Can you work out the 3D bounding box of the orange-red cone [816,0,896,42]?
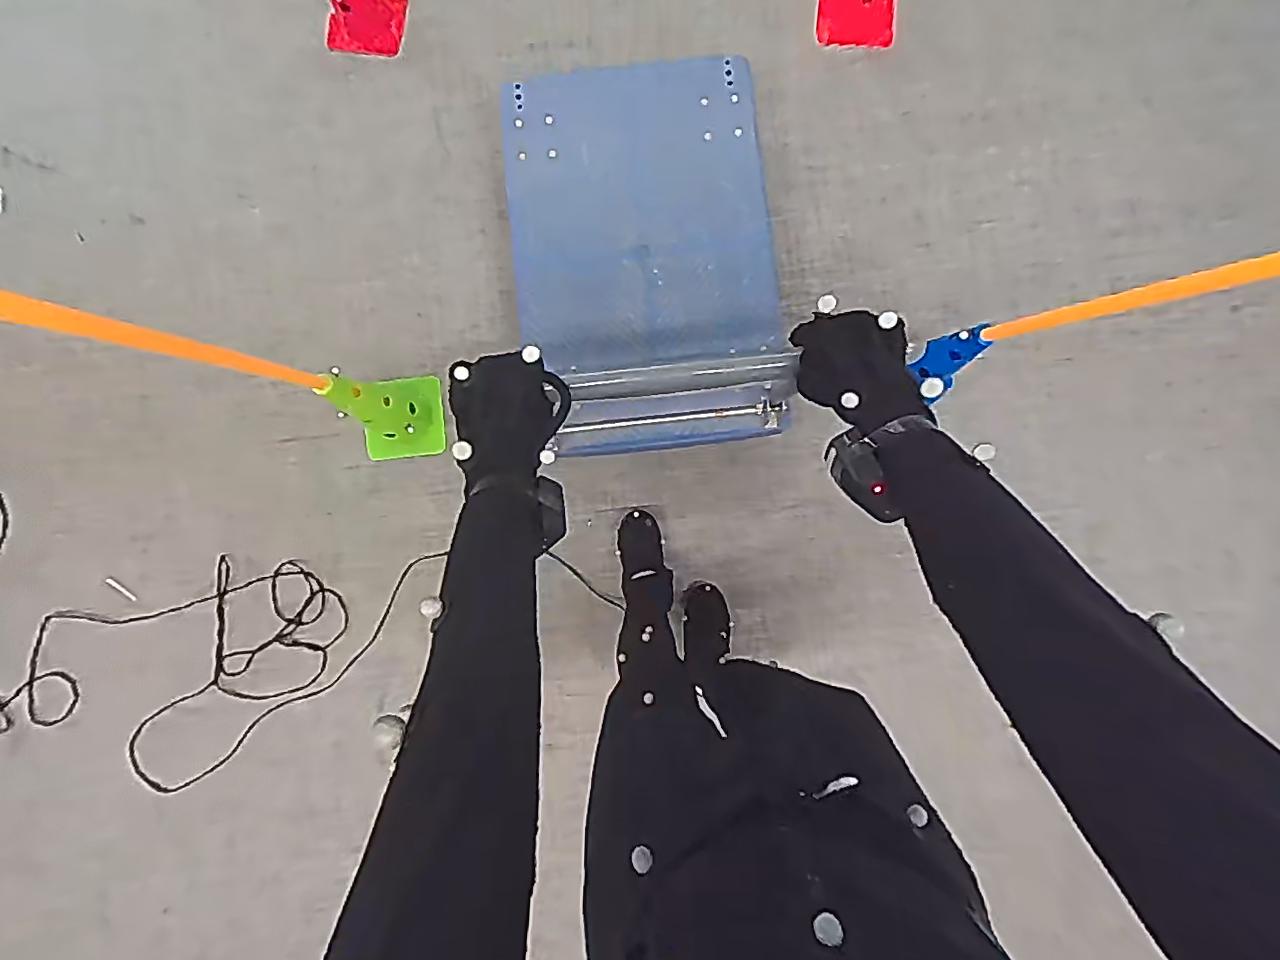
[{"bbox_3d":[0.553,-1.237,1.227,0.198,0.360,0.199,5,88,3],"label":"orange-red cone"}]
